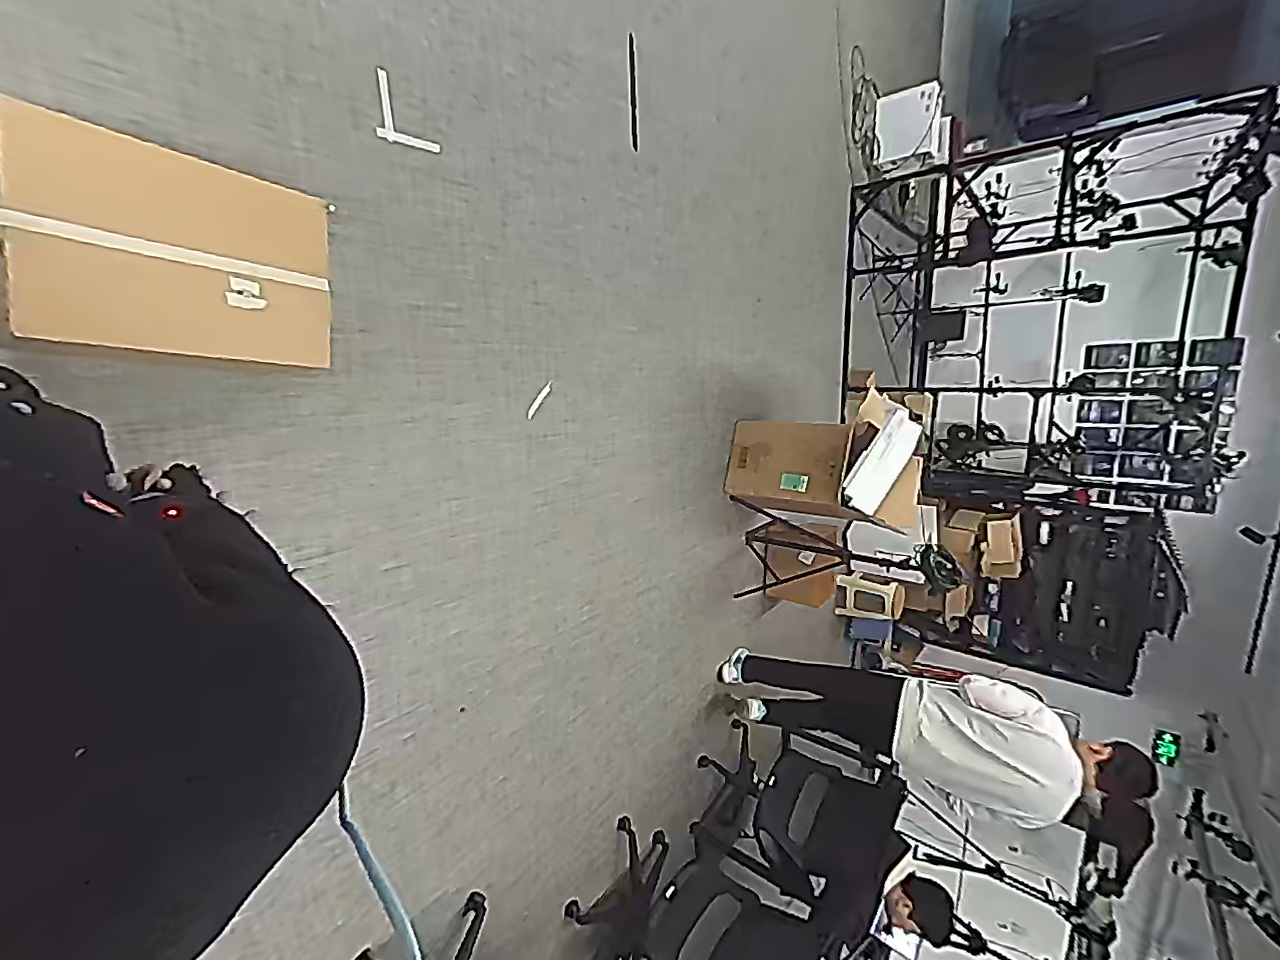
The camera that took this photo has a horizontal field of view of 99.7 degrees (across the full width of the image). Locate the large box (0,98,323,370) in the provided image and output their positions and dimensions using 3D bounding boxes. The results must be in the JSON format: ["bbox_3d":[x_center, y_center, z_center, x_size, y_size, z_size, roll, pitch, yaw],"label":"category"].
[{"bbox_3d":[-0.844,-0.371,0.952,0.408,0.320,0.320,-5,100,-53],"label":"large box"}]
